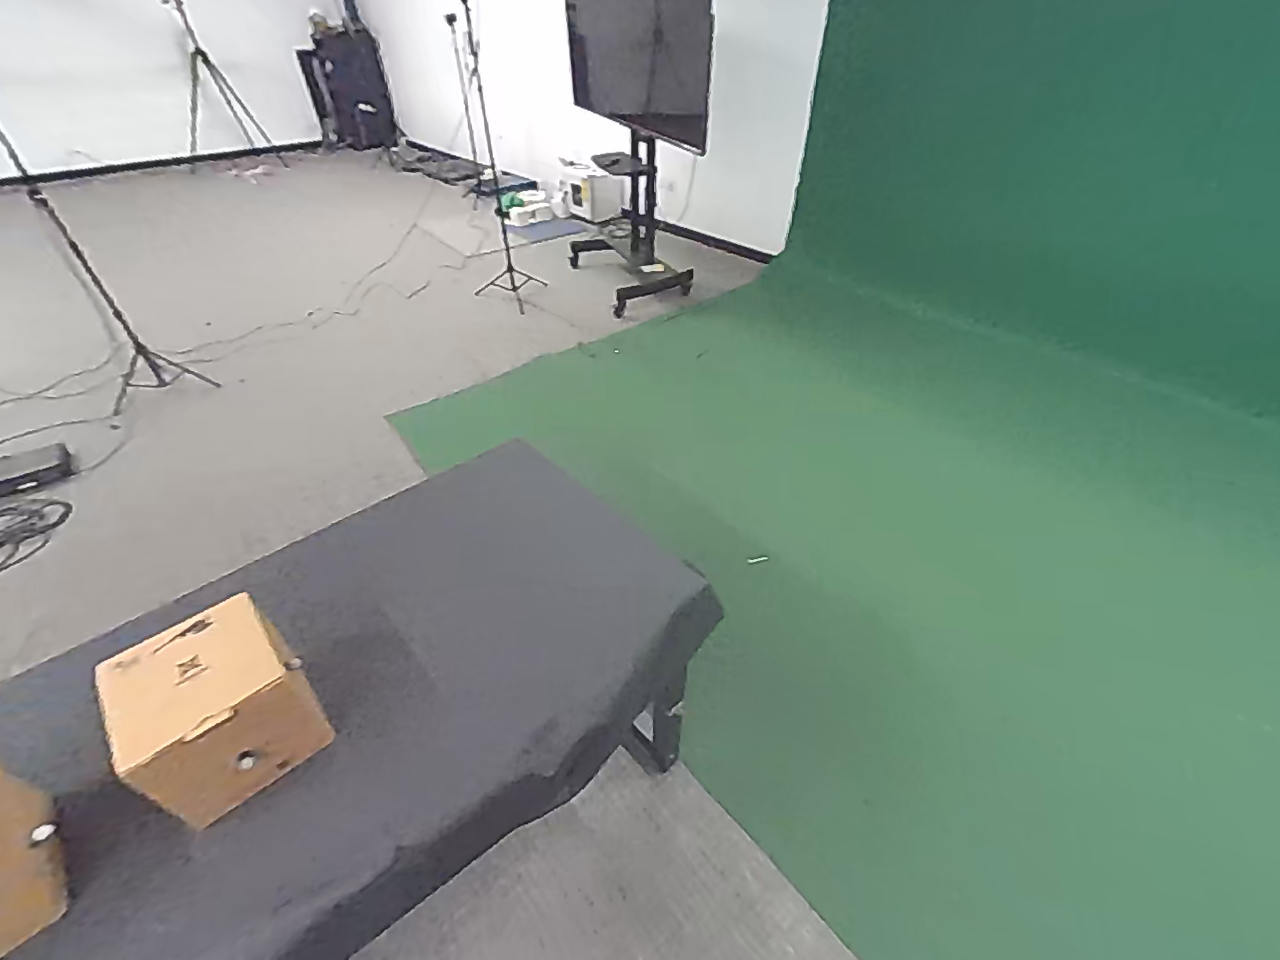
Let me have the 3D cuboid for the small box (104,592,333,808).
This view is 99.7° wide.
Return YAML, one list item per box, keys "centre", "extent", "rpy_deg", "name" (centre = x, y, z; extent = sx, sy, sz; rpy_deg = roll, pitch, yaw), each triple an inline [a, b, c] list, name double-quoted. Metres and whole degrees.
- centre: [-0.537, 0.290, 0.706]
  extent: [0.168, 0.176, 0.179]
  rpy_deg: [-31, 50, -31]
  name: "small box"

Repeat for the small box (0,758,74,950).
- centre: [-0.754, 0.415, 0.556]
  extent: [0.179, 0.176, 0.168]
  rpy_deg: [-32, 50, -33]
  name: "small box"
